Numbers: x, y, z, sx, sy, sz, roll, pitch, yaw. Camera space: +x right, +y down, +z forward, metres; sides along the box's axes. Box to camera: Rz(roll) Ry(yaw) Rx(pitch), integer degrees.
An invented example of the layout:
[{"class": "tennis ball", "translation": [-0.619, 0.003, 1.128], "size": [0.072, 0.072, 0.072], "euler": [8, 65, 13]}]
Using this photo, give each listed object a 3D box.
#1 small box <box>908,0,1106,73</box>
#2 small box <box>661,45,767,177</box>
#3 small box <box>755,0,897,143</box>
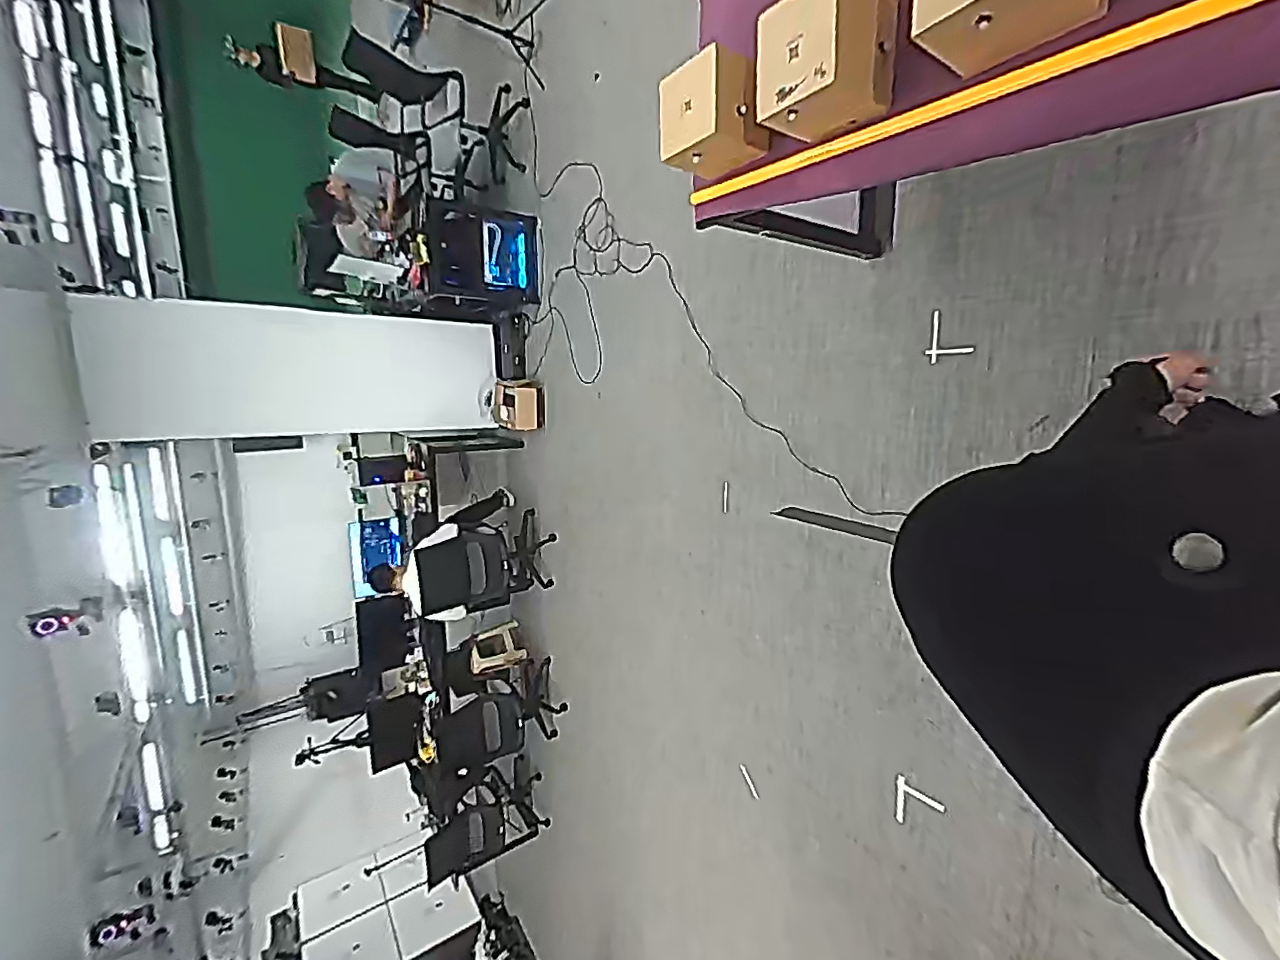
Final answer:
[{"class": "small box", "translation": [0.488, -0.686, 0.714], "size": [0.179, 0.176, 0.168], "euler": [12, 104, 54]}, {"class": "small box", "translation": [0.163, -0.781, 1.168], "size": [0.179, 0.176, 0.168], "euler": [13, 106, 54]}, {"class": "small box", "translation": [0.324, -0.729, 0.945], "size": [0.168, 0.176, 0.179], "euler": [15, 107, 55]}]
